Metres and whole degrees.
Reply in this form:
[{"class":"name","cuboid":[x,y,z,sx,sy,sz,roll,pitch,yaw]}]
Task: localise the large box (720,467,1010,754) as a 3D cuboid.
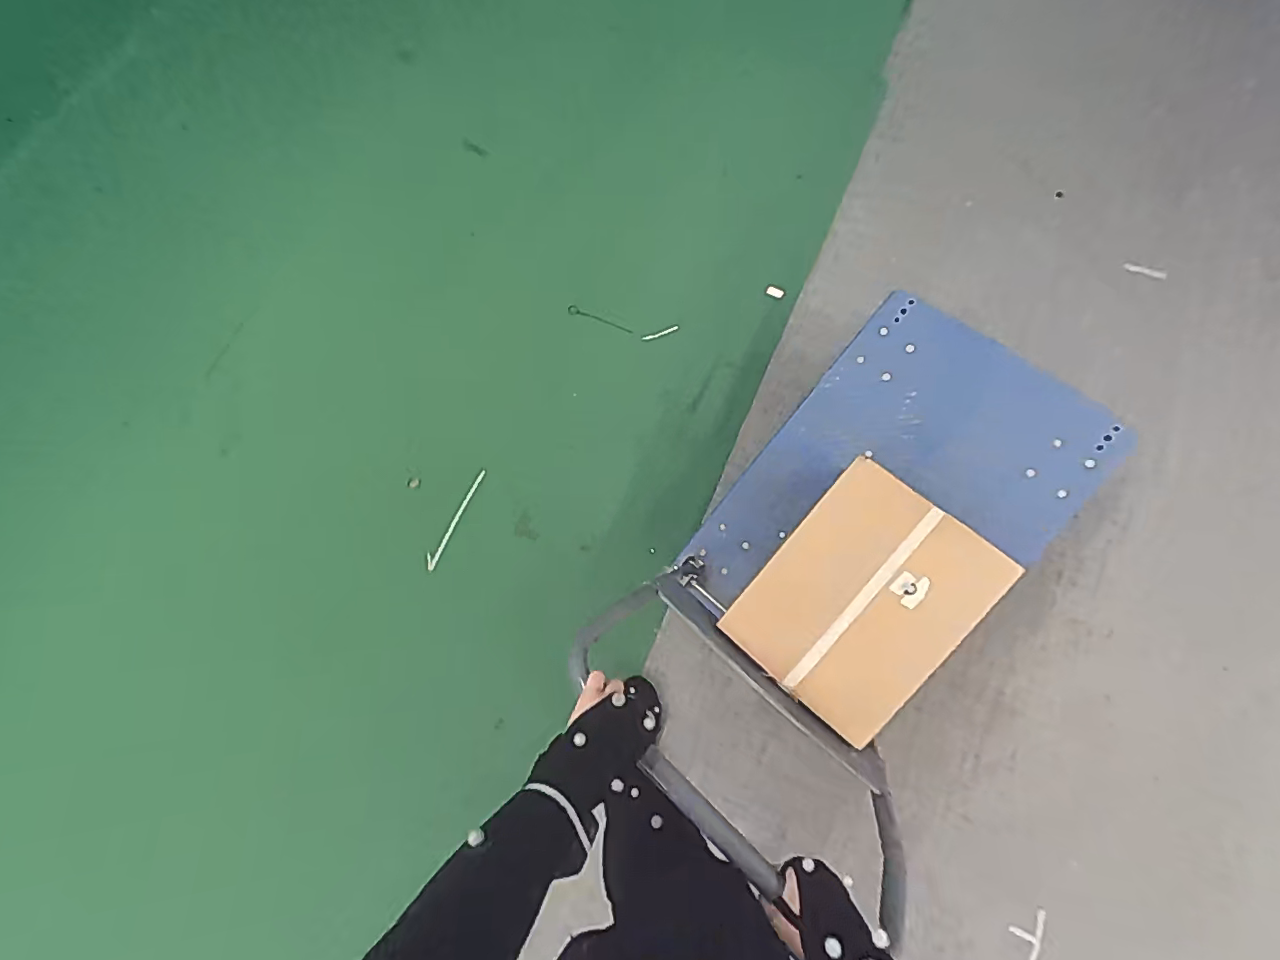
[{"class":"large box","cuboid":[0.417,0.240,1.086,0.320,0.320,0.408,41,96,15]}]
